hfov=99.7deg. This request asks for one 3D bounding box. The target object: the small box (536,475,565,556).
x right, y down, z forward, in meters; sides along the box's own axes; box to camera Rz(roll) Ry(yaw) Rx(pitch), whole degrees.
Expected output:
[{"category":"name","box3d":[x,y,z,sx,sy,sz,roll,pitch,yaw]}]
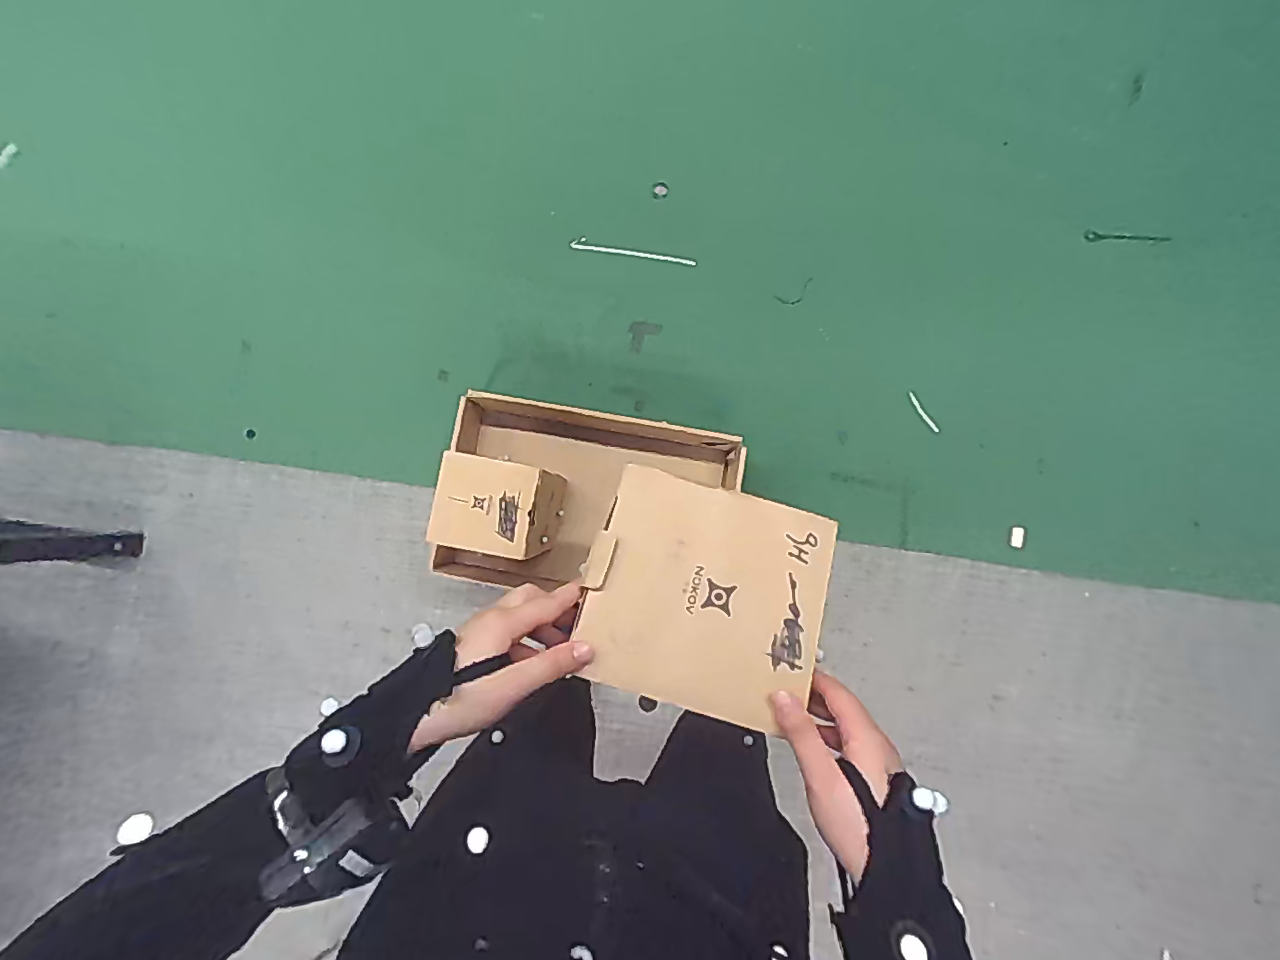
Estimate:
[{"category":"small box","box3d":[-0.269,0.066,1.172,0.179,0.176,0.168,10,86,-1]}]

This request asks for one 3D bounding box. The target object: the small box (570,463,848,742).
[{"category":"small box","box3d":[0.052,0.108,0.470,0.179,0.176,0.168,16,72,2]}]

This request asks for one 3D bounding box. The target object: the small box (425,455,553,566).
[{"category":"small box","box3d":[-0.268,0.057,1.008,0.179,0.176,0.168,11,85,1]}]
